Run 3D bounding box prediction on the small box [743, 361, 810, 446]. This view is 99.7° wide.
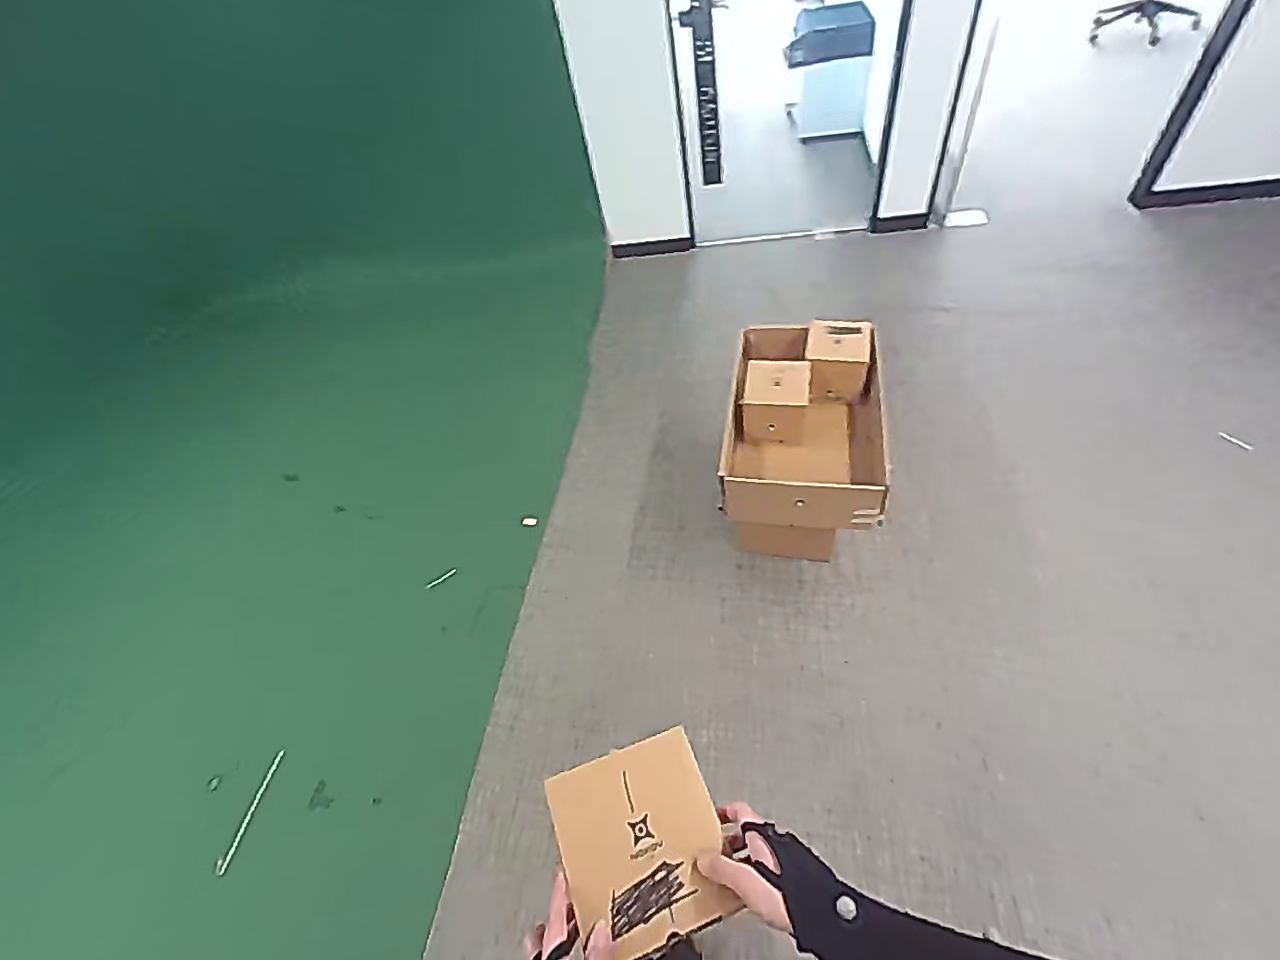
[{"bbox_3d":[0.383,-0.213,1.515,0.168,0.176,0.179,5,53,15],"label":"small box"}]

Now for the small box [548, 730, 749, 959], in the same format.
[{"bbox_3d":[-0.001,0.412,0.613,0.168,0.176,0.179,-13,57,-15],"label":"small box"}]
